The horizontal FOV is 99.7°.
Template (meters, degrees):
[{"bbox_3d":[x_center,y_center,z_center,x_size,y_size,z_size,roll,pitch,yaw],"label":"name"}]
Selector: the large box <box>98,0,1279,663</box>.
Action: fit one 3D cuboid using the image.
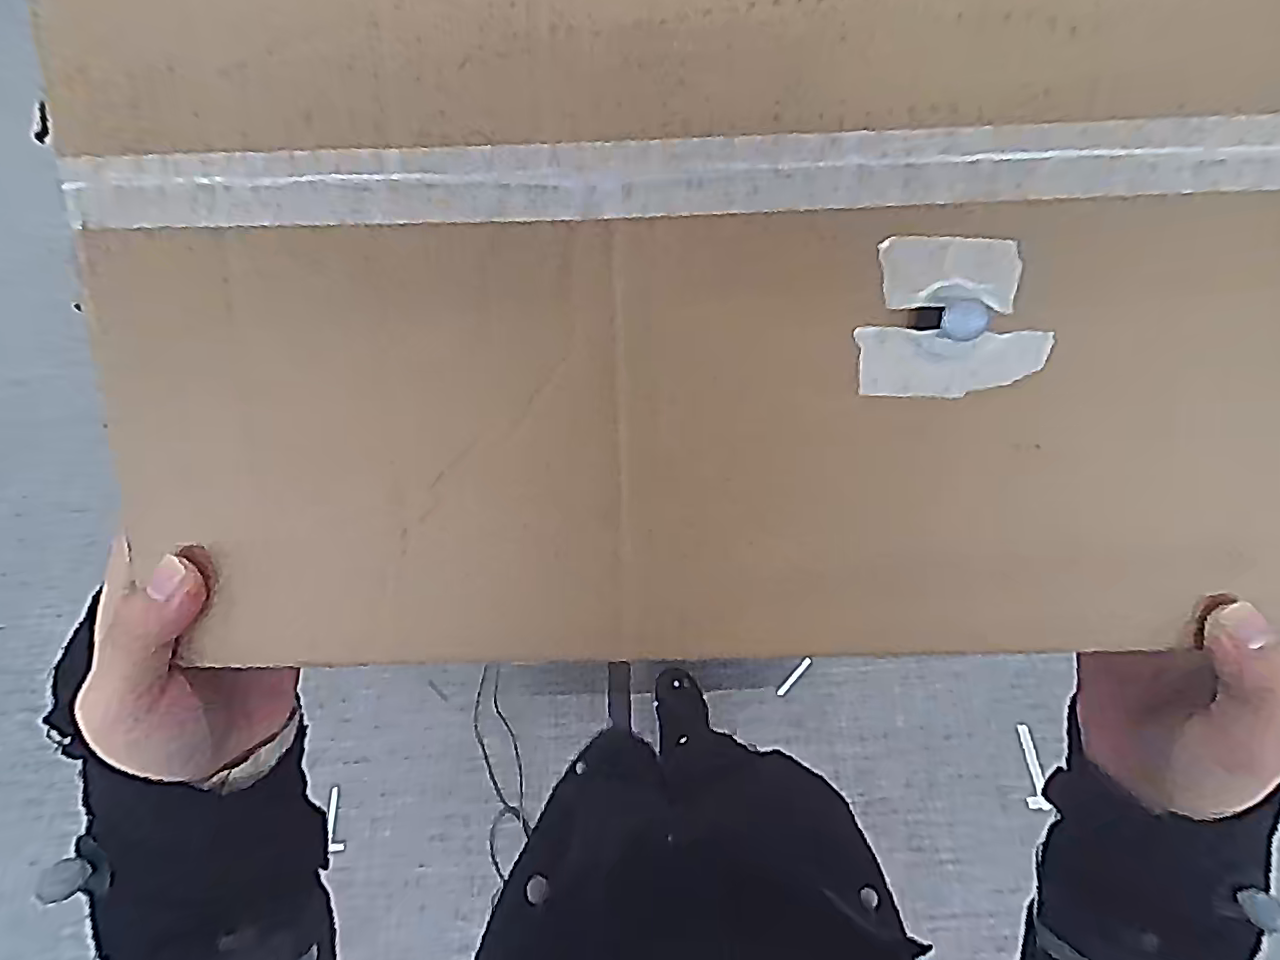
[{"bbox_3d":[0.028,-0.113,0.325,0.408,0.320,0.320,-2,99,0],"label":"large box"}]
